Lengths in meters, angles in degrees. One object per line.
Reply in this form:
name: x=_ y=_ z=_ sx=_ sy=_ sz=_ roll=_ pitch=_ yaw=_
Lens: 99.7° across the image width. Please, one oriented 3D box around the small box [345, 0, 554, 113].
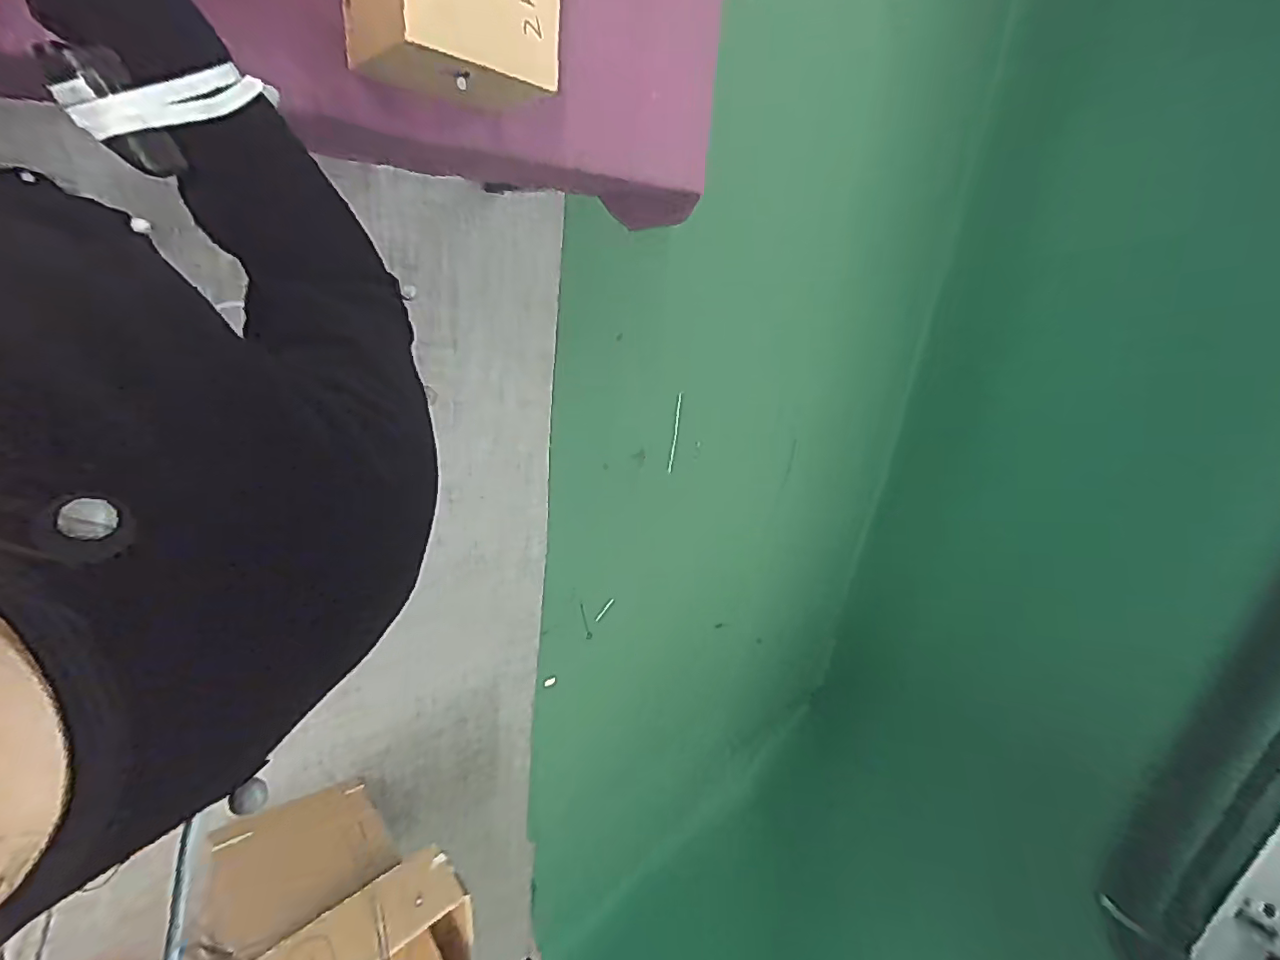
small box: x=-0.214 y=-0.526 z=0.594 sx=0.179 sy=0.176 sz=0.168 roll=-15 pitch=119 yaw=-42
